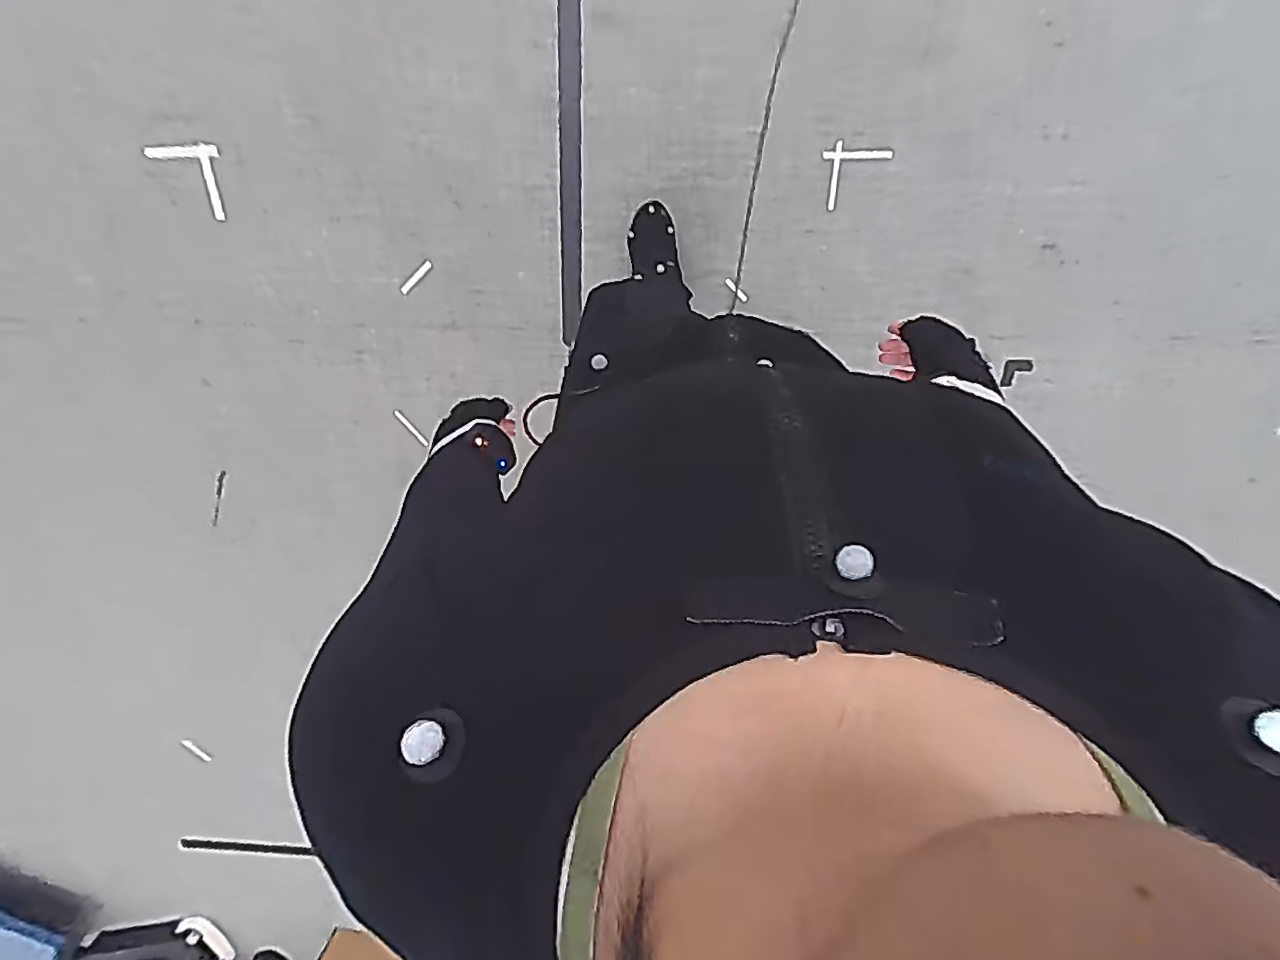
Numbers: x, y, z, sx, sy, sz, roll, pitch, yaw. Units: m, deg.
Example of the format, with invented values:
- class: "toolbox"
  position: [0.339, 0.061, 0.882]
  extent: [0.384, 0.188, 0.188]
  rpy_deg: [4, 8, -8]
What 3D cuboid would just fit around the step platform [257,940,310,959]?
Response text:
- class: "step platform"
  position: [-1.851, 2.342, 2.456]
  extent: [0.684, 0.204, 0.286]
  rpy_deg: [-25, 109, 11]
